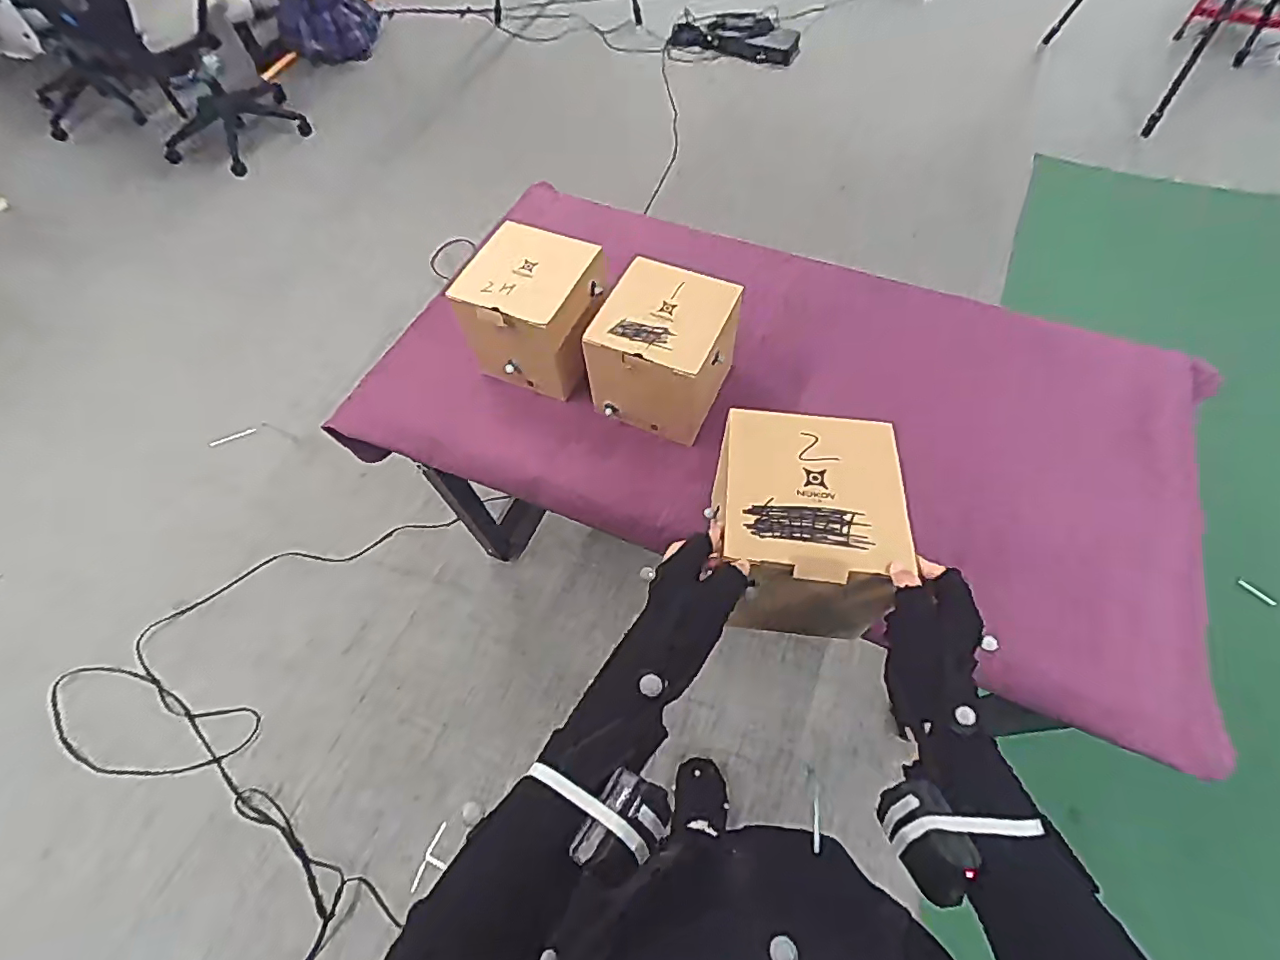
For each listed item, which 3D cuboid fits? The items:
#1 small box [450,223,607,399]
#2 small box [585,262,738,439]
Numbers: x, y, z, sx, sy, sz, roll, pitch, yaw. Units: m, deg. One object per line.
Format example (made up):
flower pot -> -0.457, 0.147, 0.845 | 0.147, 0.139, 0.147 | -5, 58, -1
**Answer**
small box -> -0.159, -0.261, 0.850 | 0.168, 0.176, 0.179 | 20, 65, 14
small box -> 0.042, -0.186, 0.803 | 0.168, 0.176, 0.179 | 18, 67, 17
